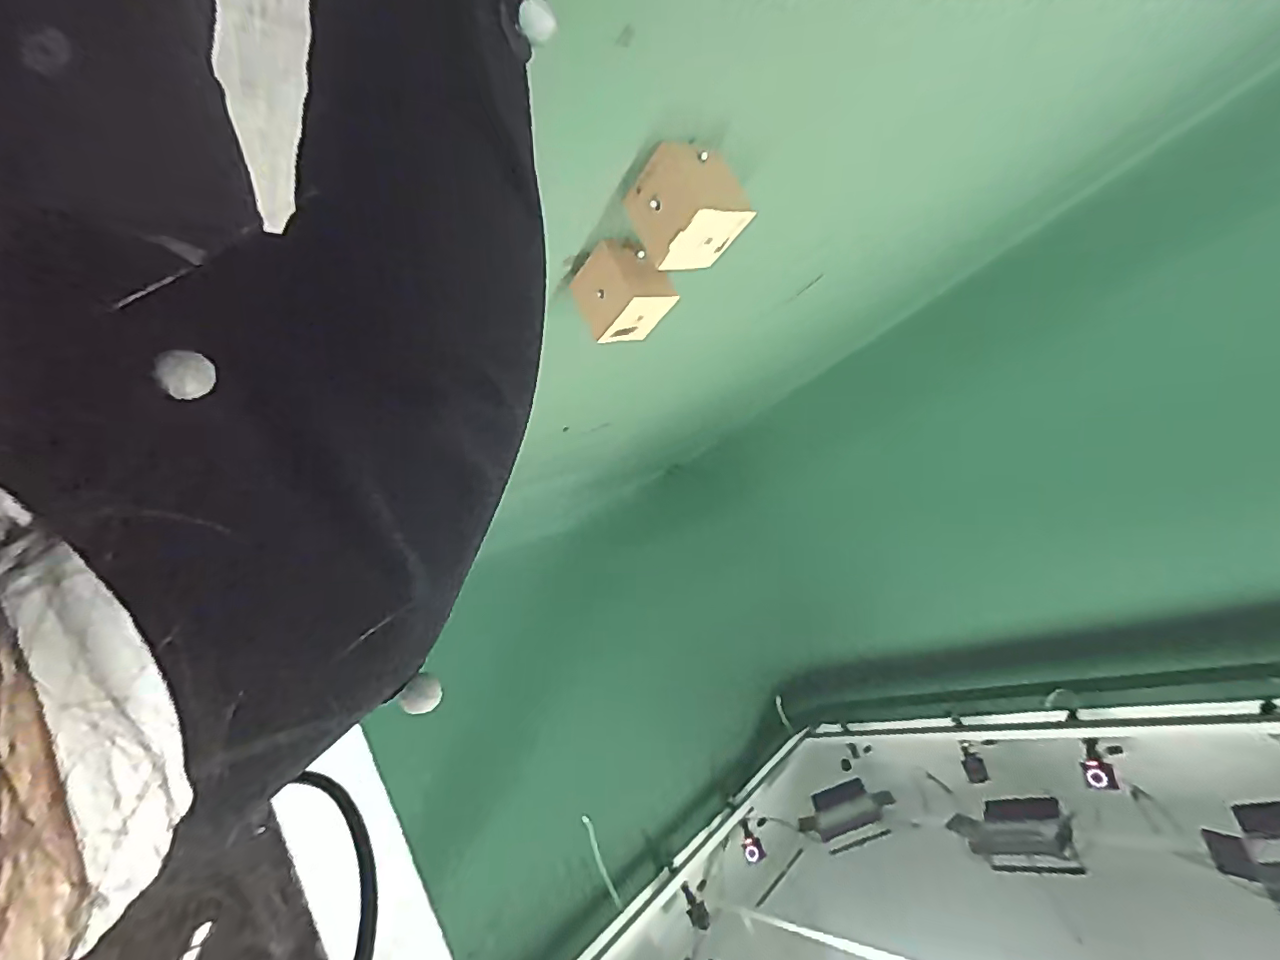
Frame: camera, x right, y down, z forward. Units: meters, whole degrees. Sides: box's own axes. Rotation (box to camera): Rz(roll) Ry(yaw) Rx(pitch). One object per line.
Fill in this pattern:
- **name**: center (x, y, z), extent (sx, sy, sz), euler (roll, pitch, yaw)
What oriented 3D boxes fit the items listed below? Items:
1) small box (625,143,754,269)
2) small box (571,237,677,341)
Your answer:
- **small box**: center (0.097, -0.567, 1.131), extent (0.179, 0.176, 0.168), euler (-19, 169, -39)
- **small box**: center (-0.047, -0.465, 1.331), extent (0.168, 0.176, 0.179), euler (-19, 169, -42)
